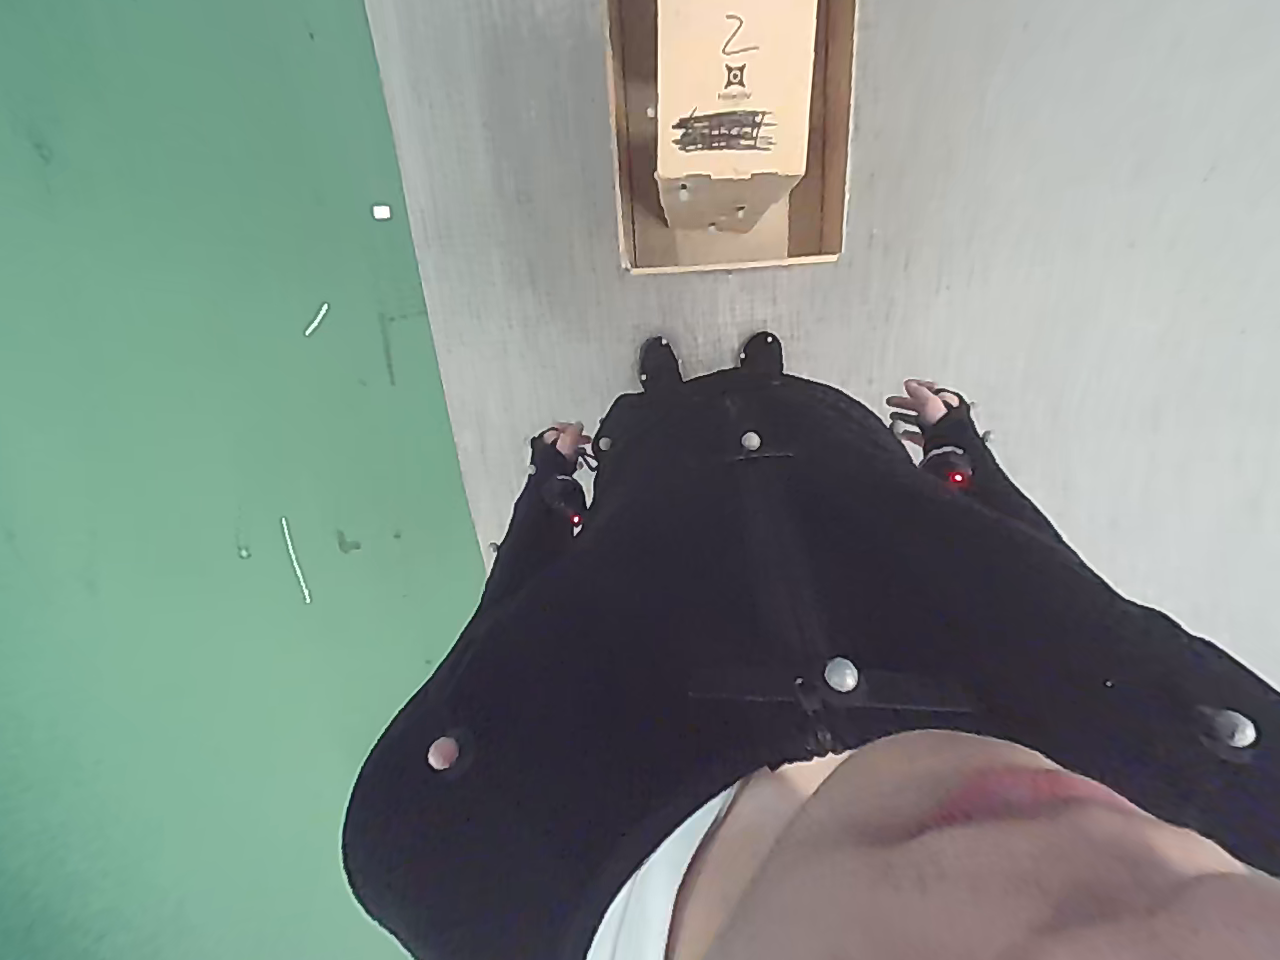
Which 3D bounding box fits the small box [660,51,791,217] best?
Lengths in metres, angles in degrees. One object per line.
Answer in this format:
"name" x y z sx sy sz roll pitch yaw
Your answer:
"small box" 0.119 -0.501 0.807 0.168 0.176 0.179 3 106 3
